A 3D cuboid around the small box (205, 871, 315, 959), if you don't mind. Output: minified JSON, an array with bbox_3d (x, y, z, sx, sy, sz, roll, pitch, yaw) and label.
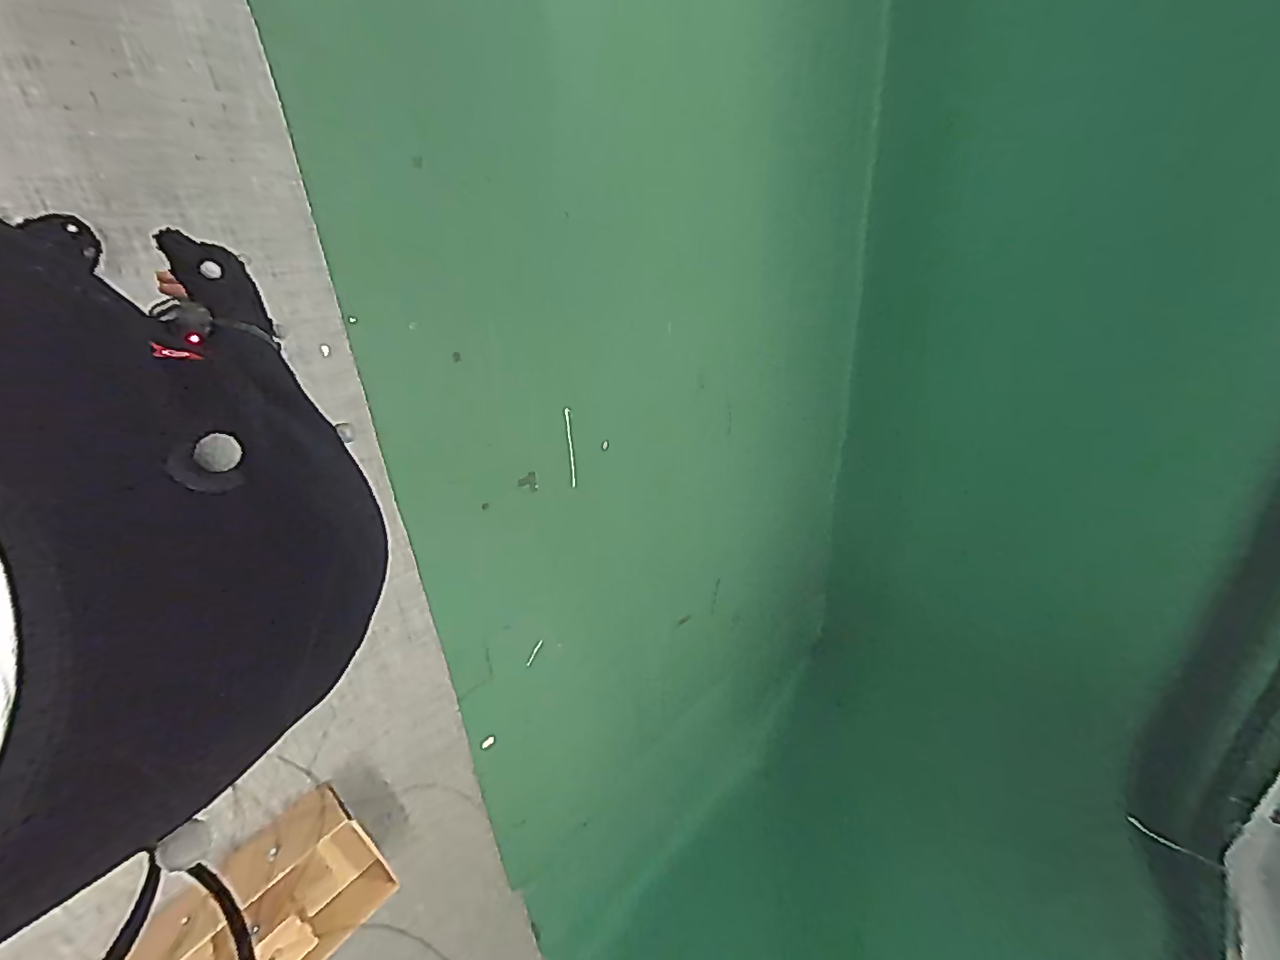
[{"bbox_3d":[-1.028,1.221,1.463,0.179,0.176,0.168,-33,127,-36],"label":"small box"}]
